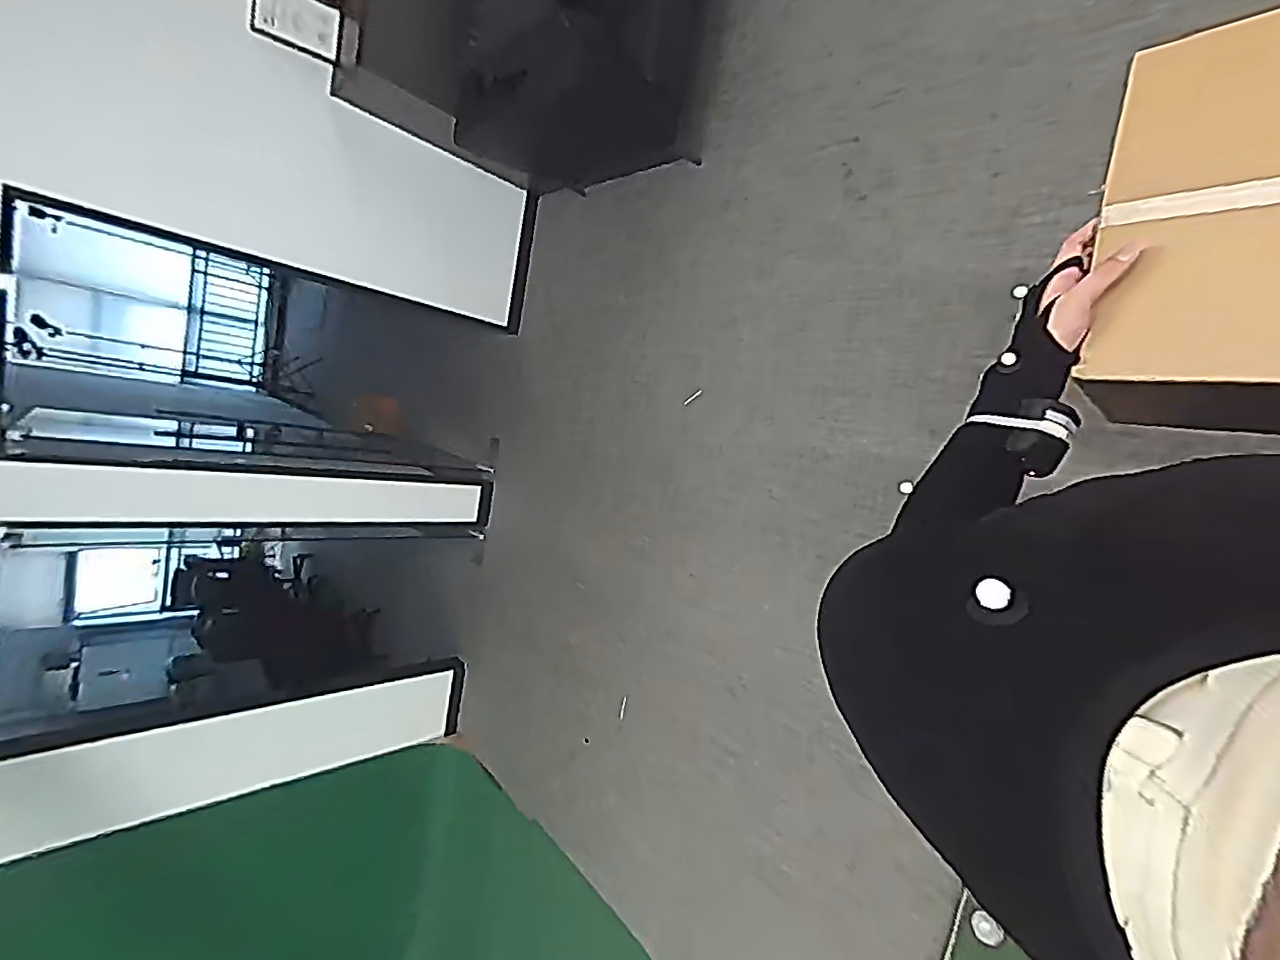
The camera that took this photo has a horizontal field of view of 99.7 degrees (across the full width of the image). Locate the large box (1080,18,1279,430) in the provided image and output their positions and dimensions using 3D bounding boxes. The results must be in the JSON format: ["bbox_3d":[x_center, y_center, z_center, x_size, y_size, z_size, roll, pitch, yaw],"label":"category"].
[{"bbox_3d":[0.697,-0.216,0.497,0.408,0.320,0.320,12,94,45],"label":"large box"}]
